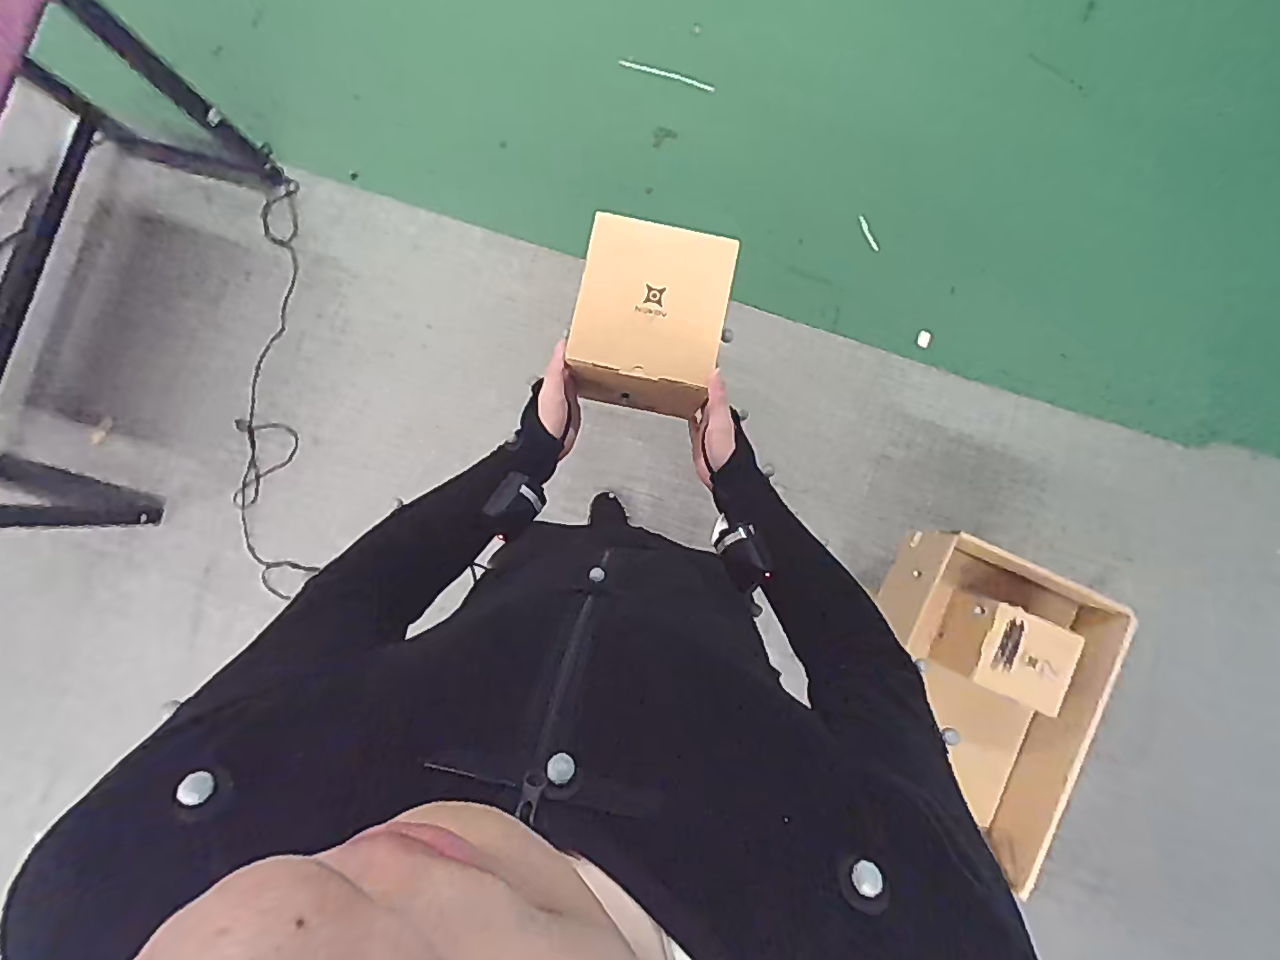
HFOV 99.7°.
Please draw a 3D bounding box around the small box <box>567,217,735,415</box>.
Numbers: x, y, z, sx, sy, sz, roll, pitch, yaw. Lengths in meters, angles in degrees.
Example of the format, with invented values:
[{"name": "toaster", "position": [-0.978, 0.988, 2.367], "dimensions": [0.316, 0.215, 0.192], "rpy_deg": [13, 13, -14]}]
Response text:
[{"name": "small box", "position": [0.008, -0.191, 0.681], "dimensions": [0.168, 0.176, 0.179], "rpy_deg": [10, 88, -3]}]
